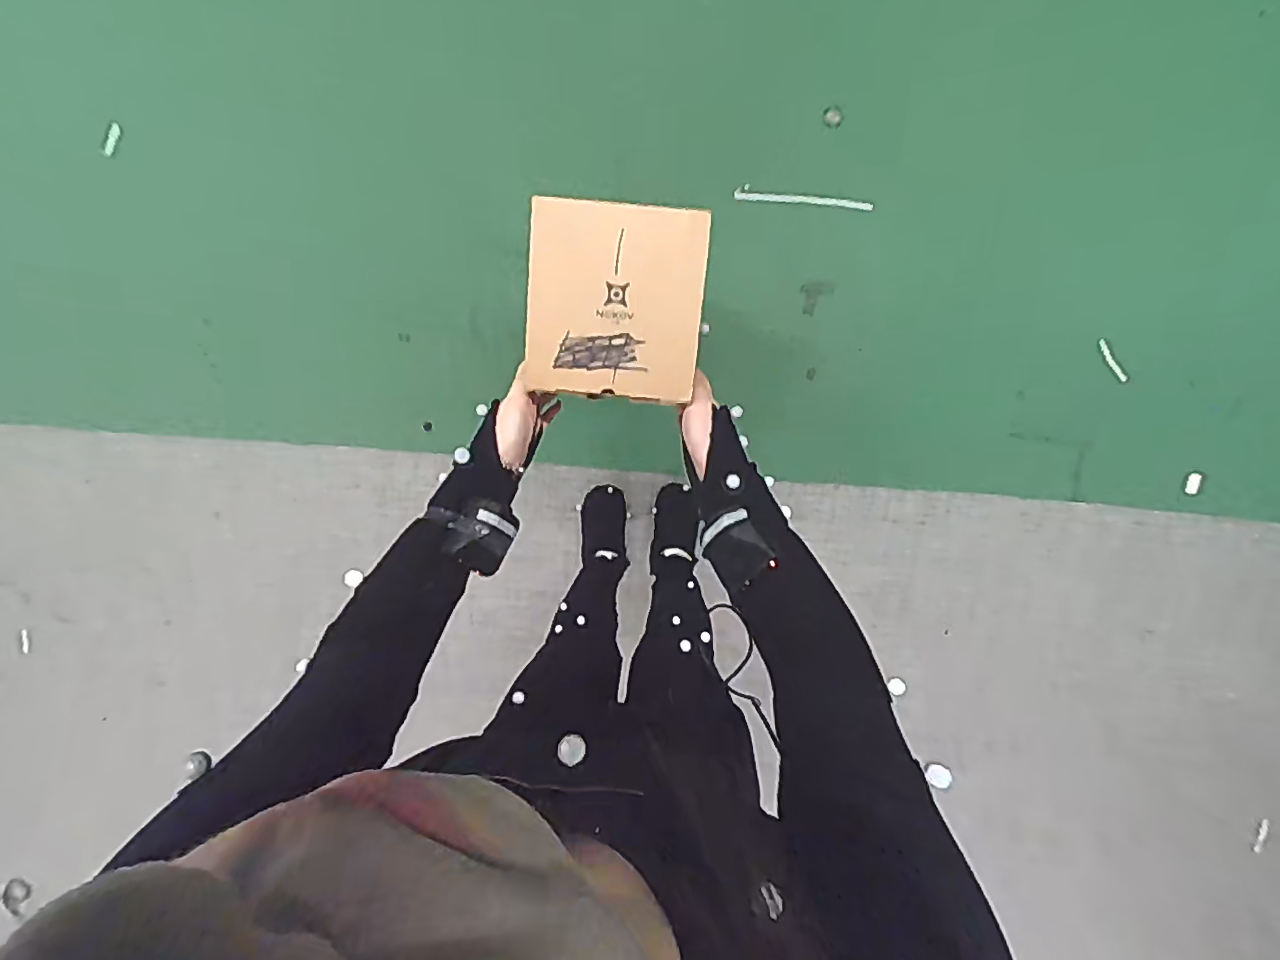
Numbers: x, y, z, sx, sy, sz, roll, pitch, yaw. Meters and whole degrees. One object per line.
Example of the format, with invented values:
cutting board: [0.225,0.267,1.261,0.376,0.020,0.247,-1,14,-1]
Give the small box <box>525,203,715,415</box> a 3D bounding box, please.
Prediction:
small box: [-0.020,-0.173,0.579,0.168,0.176,0.179,6,103,-1]
